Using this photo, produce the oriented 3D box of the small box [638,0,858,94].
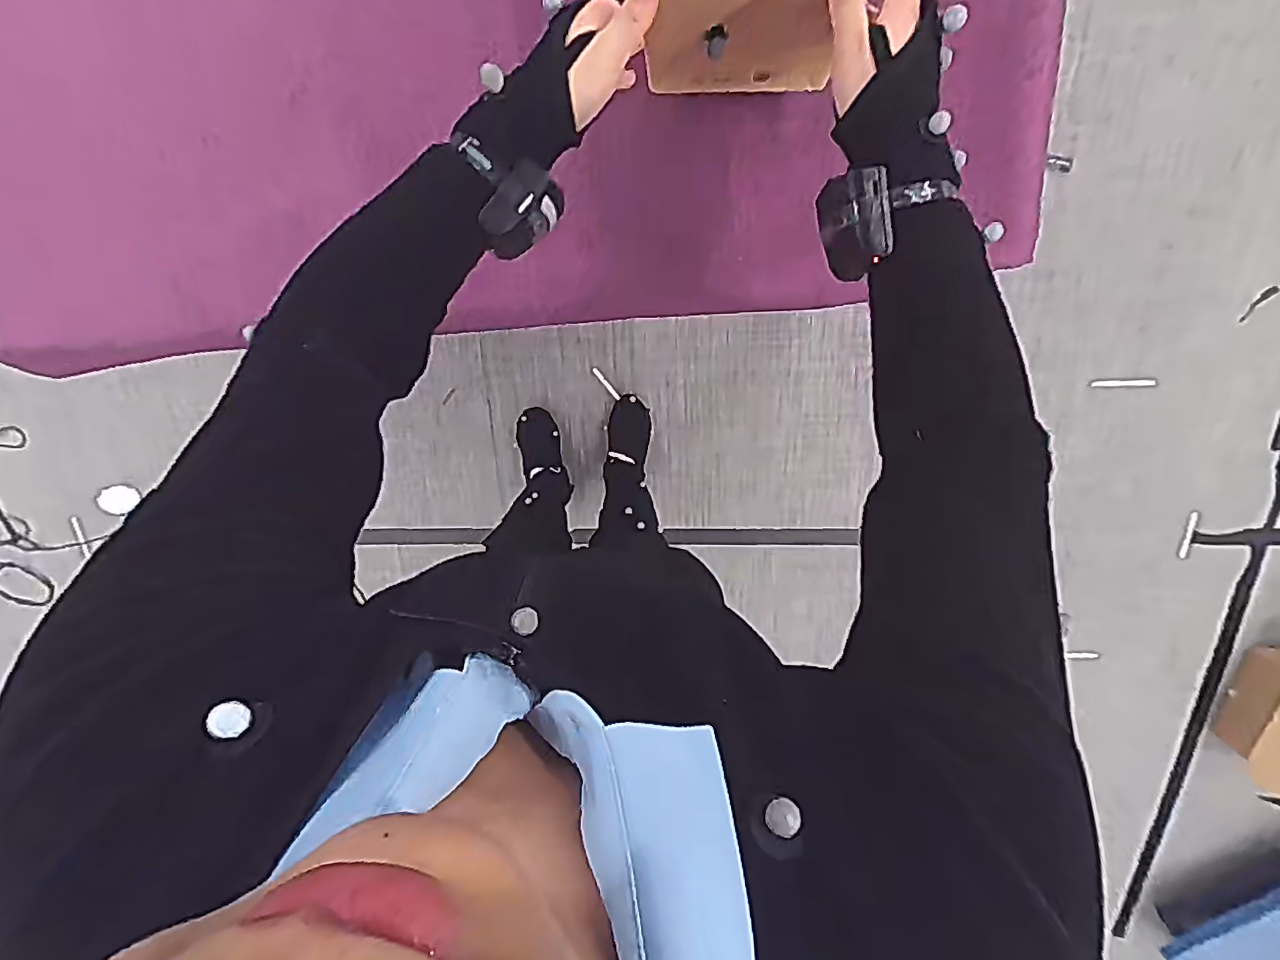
[{"bbox_3d":[0.089,-0.438,0.428,0.168,0.176,0.179,3,101,5],"label":"small box"}]
